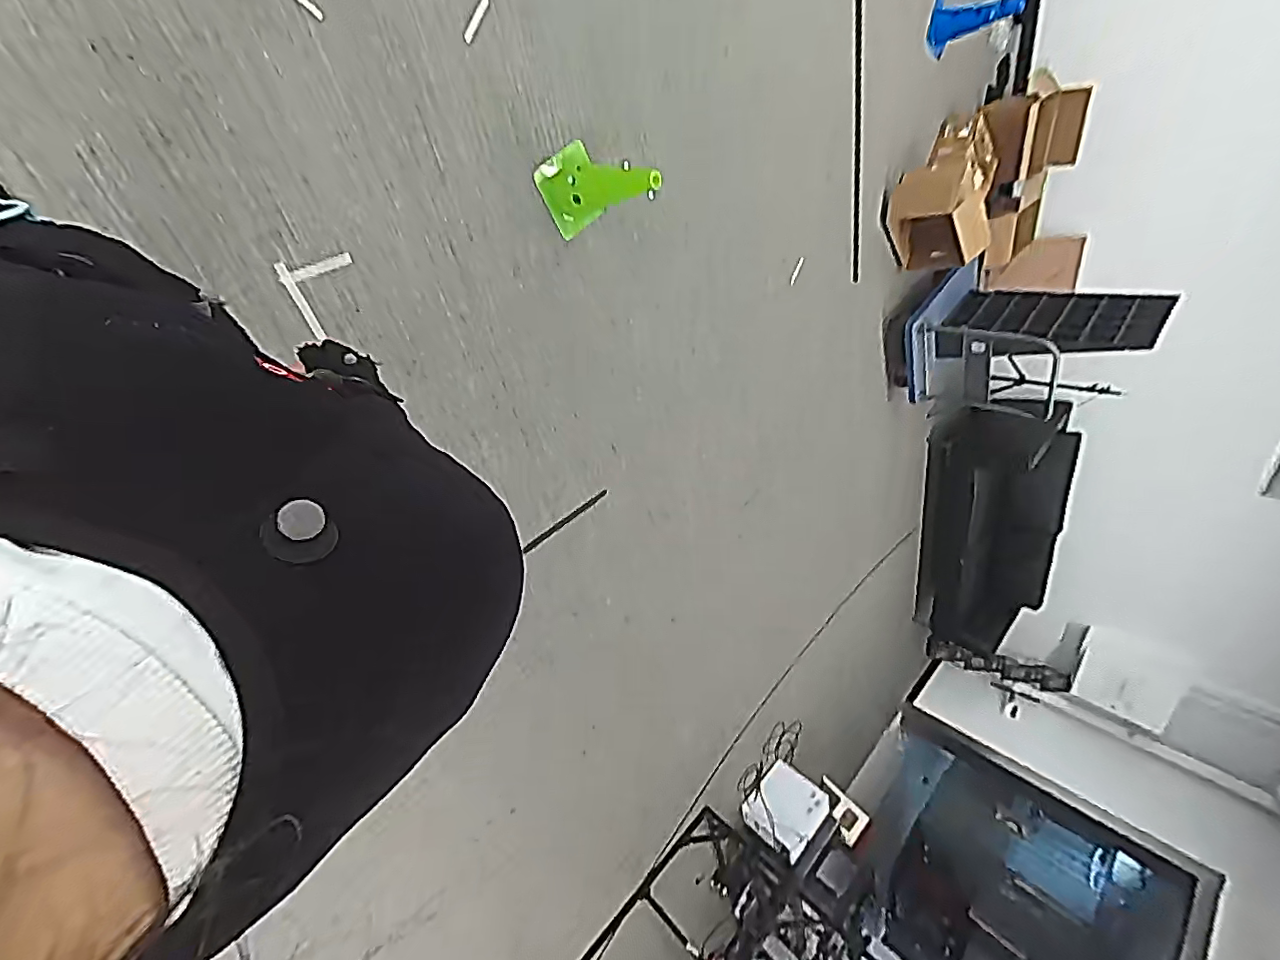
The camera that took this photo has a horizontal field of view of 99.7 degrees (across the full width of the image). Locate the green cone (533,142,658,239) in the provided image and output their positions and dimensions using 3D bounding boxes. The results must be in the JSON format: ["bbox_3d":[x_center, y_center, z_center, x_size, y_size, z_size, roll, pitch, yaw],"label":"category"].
[{"bbox_3d":[-0.086,-0.789,1.449,0.202,0.368,0.200,-48,133,-19],"label":"green cone"}]
